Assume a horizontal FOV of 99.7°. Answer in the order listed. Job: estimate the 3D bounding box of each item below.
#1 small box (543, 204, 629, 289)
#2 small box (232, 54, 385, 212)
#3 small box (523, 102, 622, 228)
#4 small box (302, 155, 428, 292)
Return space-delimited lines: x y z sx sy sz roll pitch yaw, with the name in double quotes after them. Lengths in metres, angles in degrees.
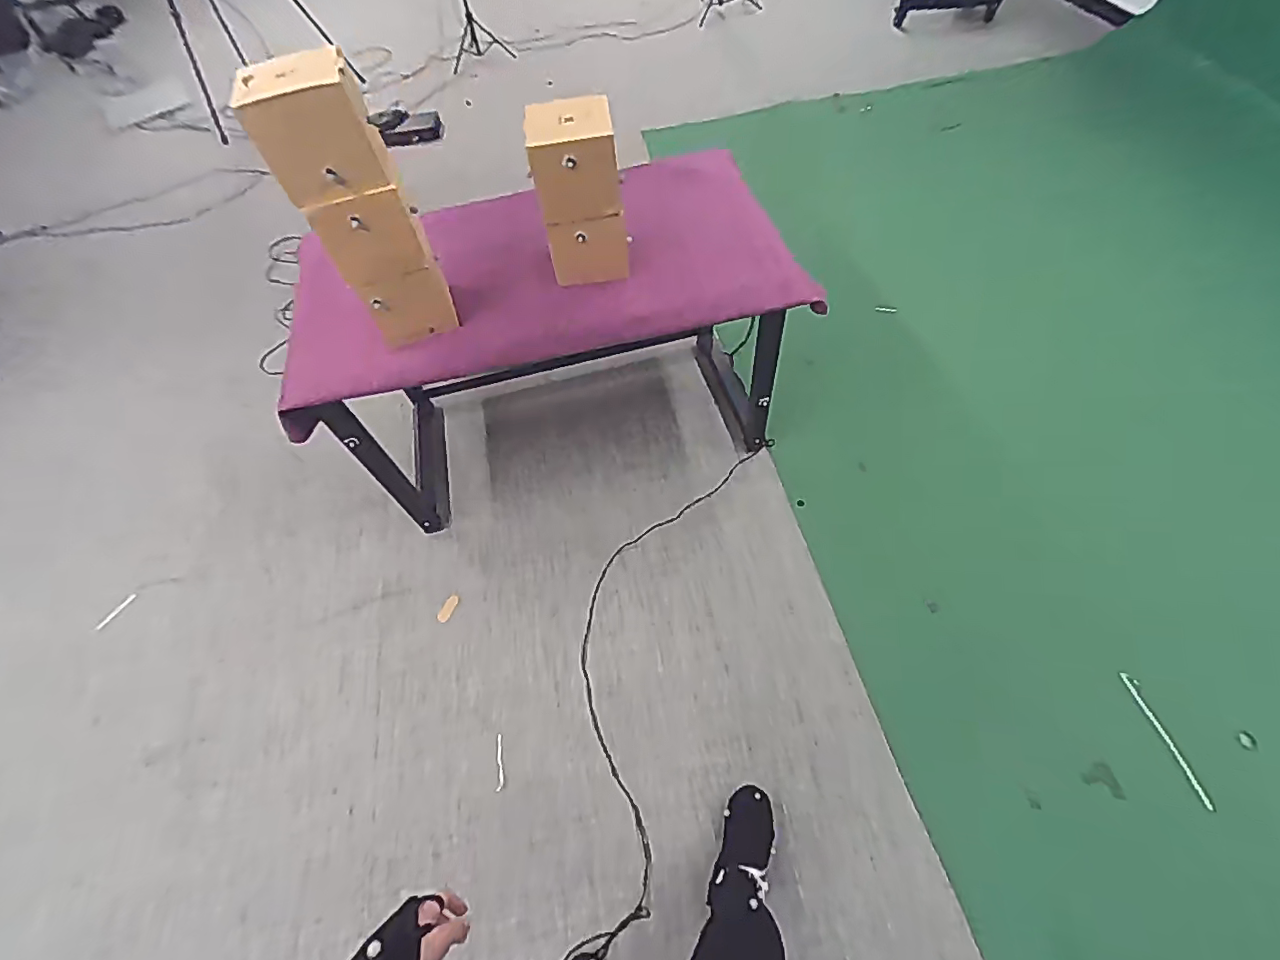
-0.126 -0.576 1.283 0.179 0.176 0.168 -7 58 0 "small box"
-0.569 -0.609 0.956 0.179 0.176 0.168 -18 57 -6 "small box"
-0.139 -0.659 1.144 0.179 0.176 0.168 -8 58 0 "small box"
-0.542 -0.511 1.086 0.179 0.176 0.168 -19 57 -6 "small box"
